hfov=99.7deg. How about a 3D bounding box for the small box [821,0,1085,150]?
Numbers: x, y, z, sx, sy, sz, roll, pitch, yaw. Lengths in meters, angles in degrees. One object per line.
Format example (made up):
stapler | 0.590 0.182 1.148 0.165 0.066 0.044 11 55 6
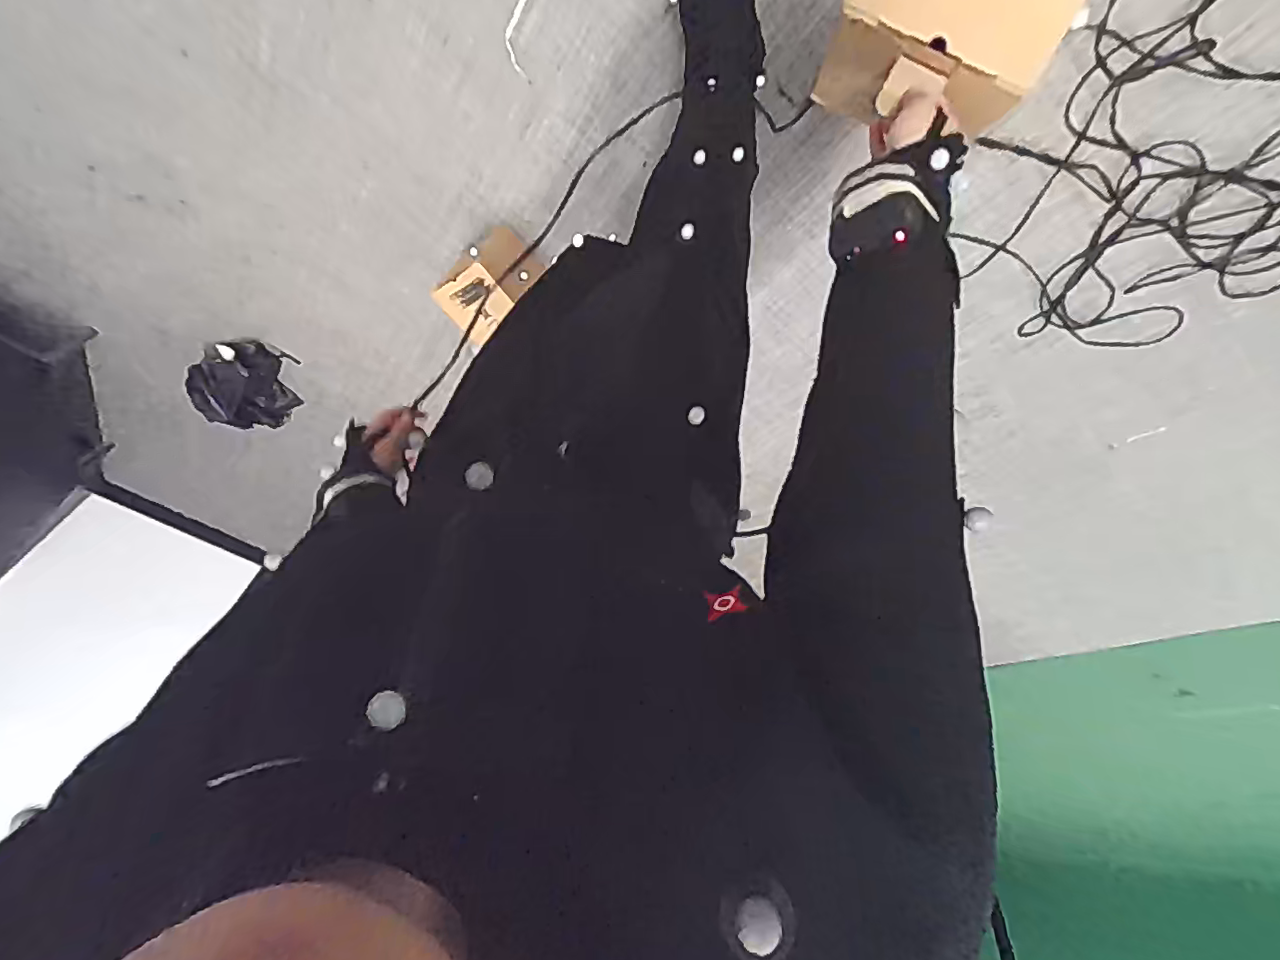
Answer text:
small box | 0.283 -0.438 0.480 0.168 0.176 0.179 26 108 1
